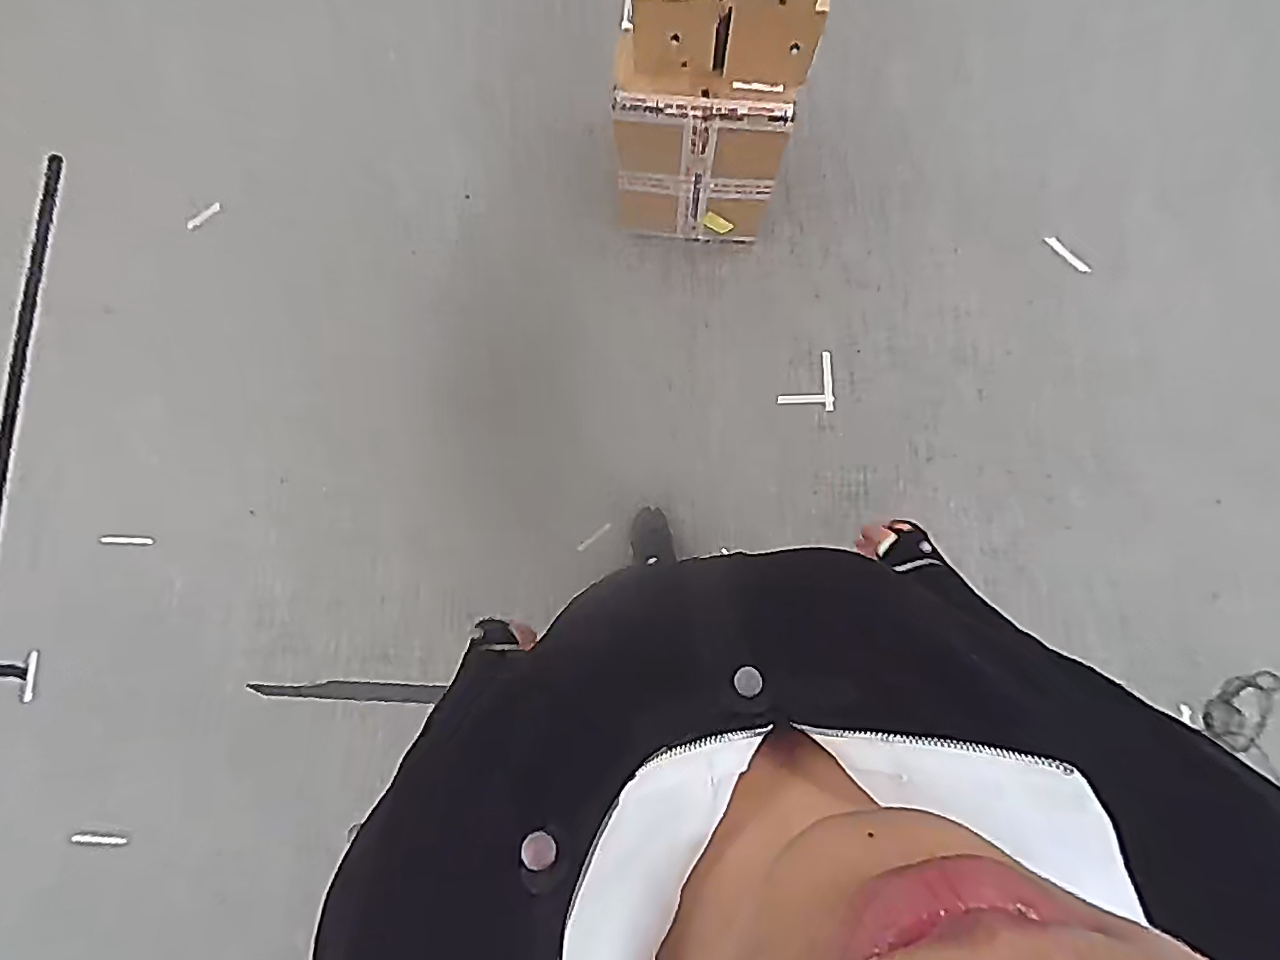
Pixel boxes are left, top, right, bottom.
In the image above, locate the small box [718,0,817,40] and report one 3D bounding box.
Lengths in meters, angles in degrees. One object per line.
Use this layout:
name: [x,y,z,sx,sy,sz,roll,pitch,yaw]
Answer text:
small box: [0.233,-0.911,0.920,0.168,0.176,0.179,8,85,1]
